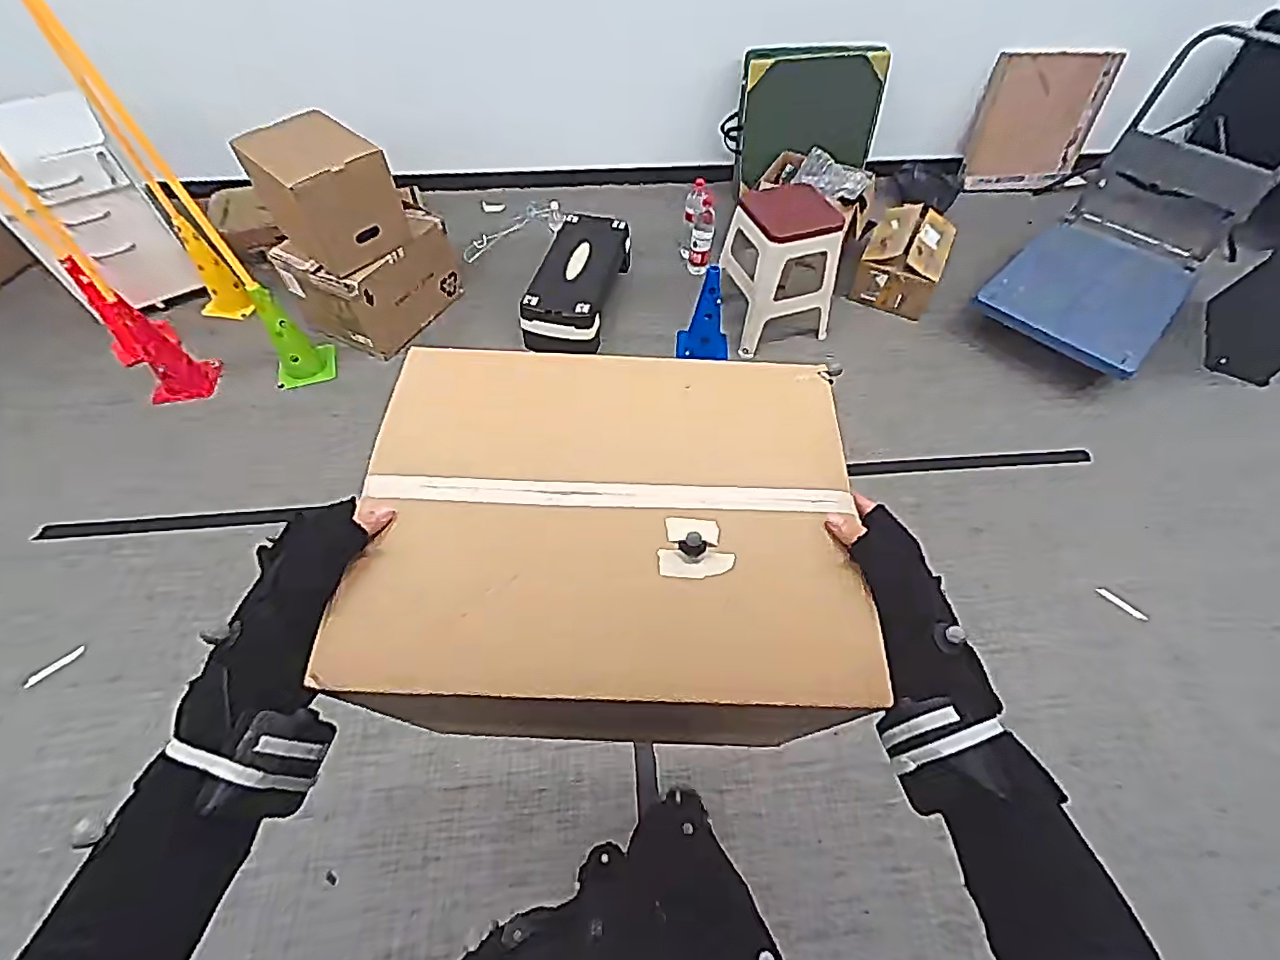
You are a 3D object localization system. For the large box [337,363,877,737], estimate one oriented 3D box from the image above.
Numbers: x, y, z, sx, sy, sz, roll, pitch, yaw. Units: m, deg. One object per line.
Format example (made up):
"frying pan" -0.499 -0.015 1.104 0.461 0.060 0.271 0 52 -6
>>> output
"large box" -0.026 0.095 0.596 0.408 0.320 0.320 3 59 -1
